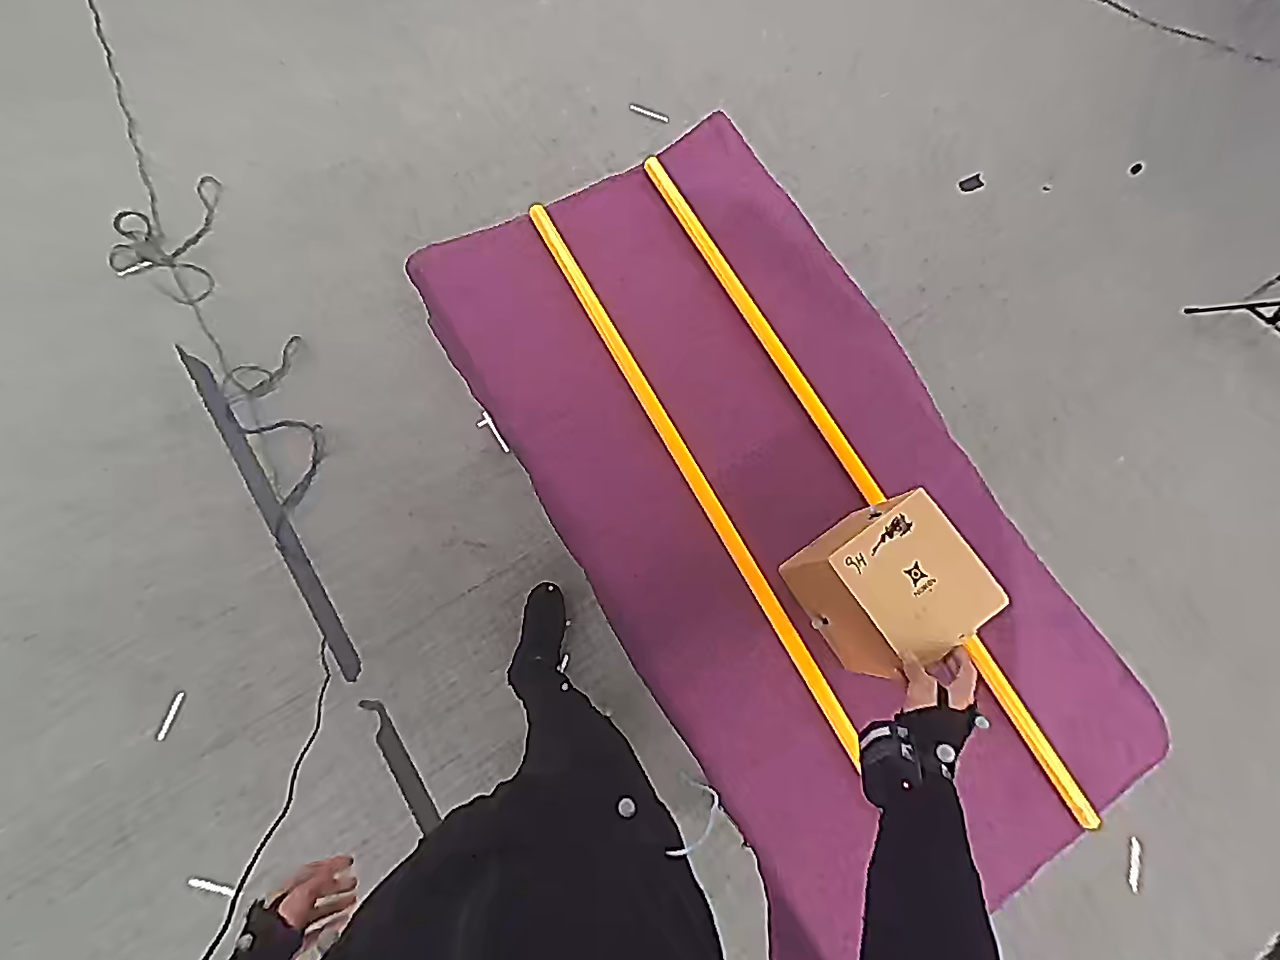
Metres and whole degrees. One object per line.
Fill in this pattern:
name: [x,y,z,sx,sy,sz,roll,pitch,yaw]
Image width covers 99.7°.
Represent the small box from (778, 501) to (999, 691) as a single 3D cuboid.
small box: [0.322,0.153,0.737,0.168,0.176,0.179,-32,82,-13]
